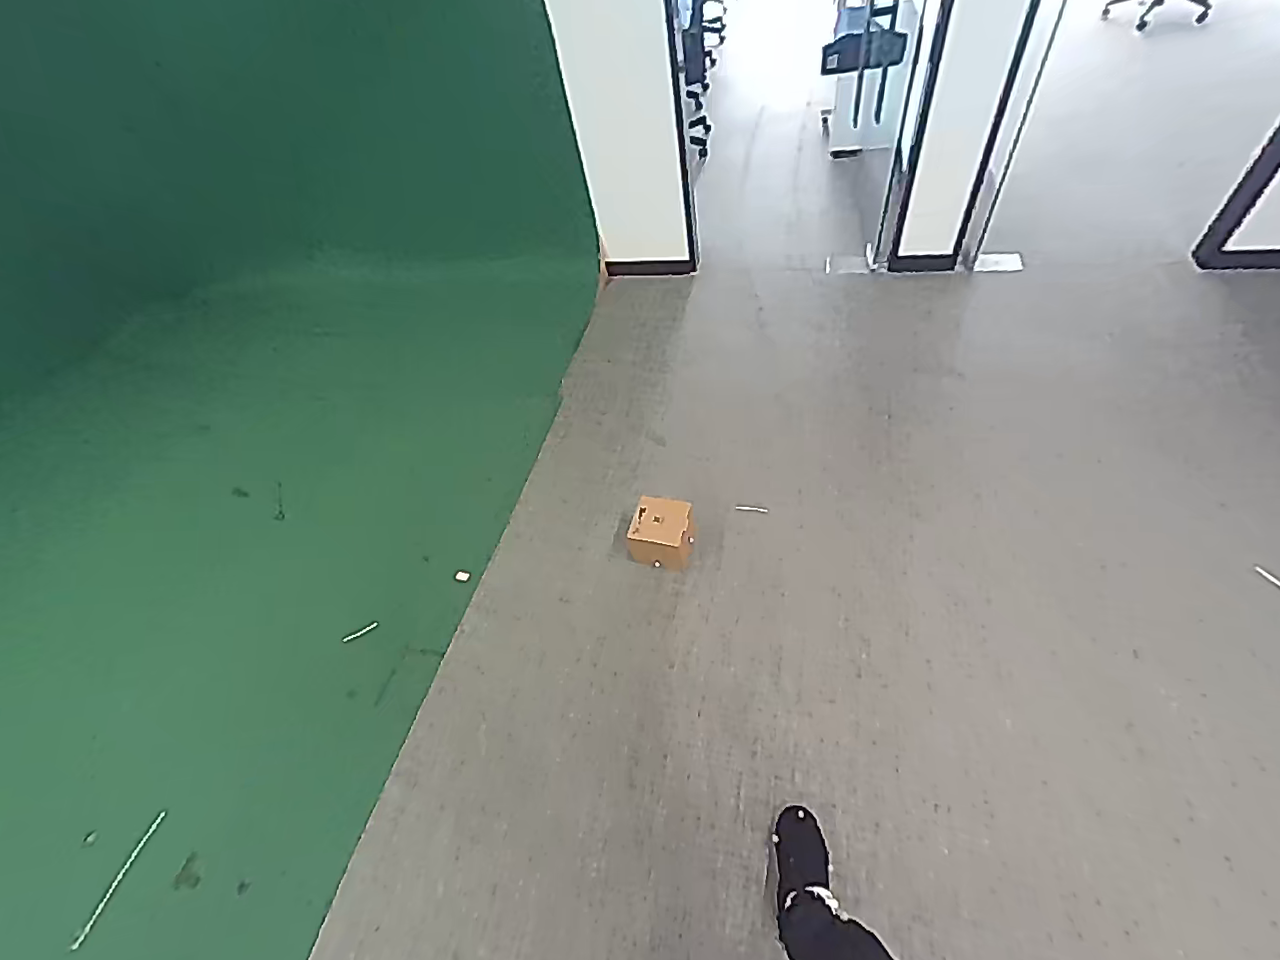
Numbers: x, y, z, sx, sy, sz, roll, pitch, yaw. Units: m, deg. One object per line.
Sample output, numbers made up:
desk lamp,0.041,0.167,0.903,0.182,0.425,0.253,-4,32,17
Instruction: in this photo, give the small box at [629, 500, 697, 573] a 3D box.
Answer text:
small box,0.083,0.190,1.776,0.179,0.176,0.168,9,55,18
